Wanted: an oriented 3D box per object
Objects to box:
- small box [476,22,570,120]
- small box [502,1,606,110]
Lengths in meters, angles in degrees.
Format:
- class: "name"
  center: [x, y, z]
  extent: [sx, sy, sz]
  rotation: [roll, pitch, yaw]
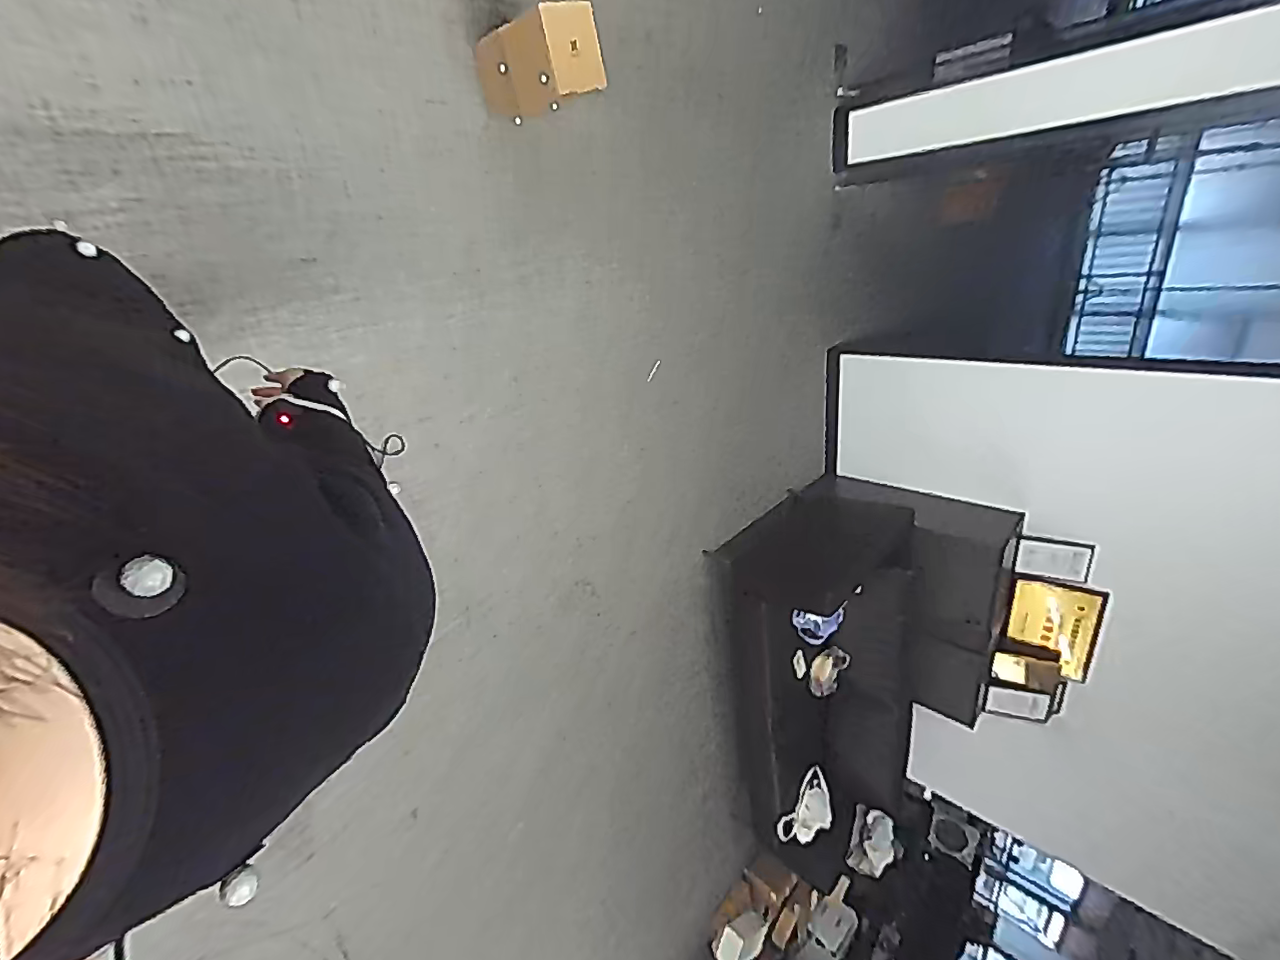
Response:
- class: "small box"
  center: [-0.320, -1.098, 1.464]
  extent: [0.168, 0.176, 0.179]
  rotation: [-31, 124, -35]
- class: "small box"
  center: [-0.216, -1.053, 1.347]
  extent: [0.168, 0.176, 0.179]
  rotation: [-36, 127, -33]
